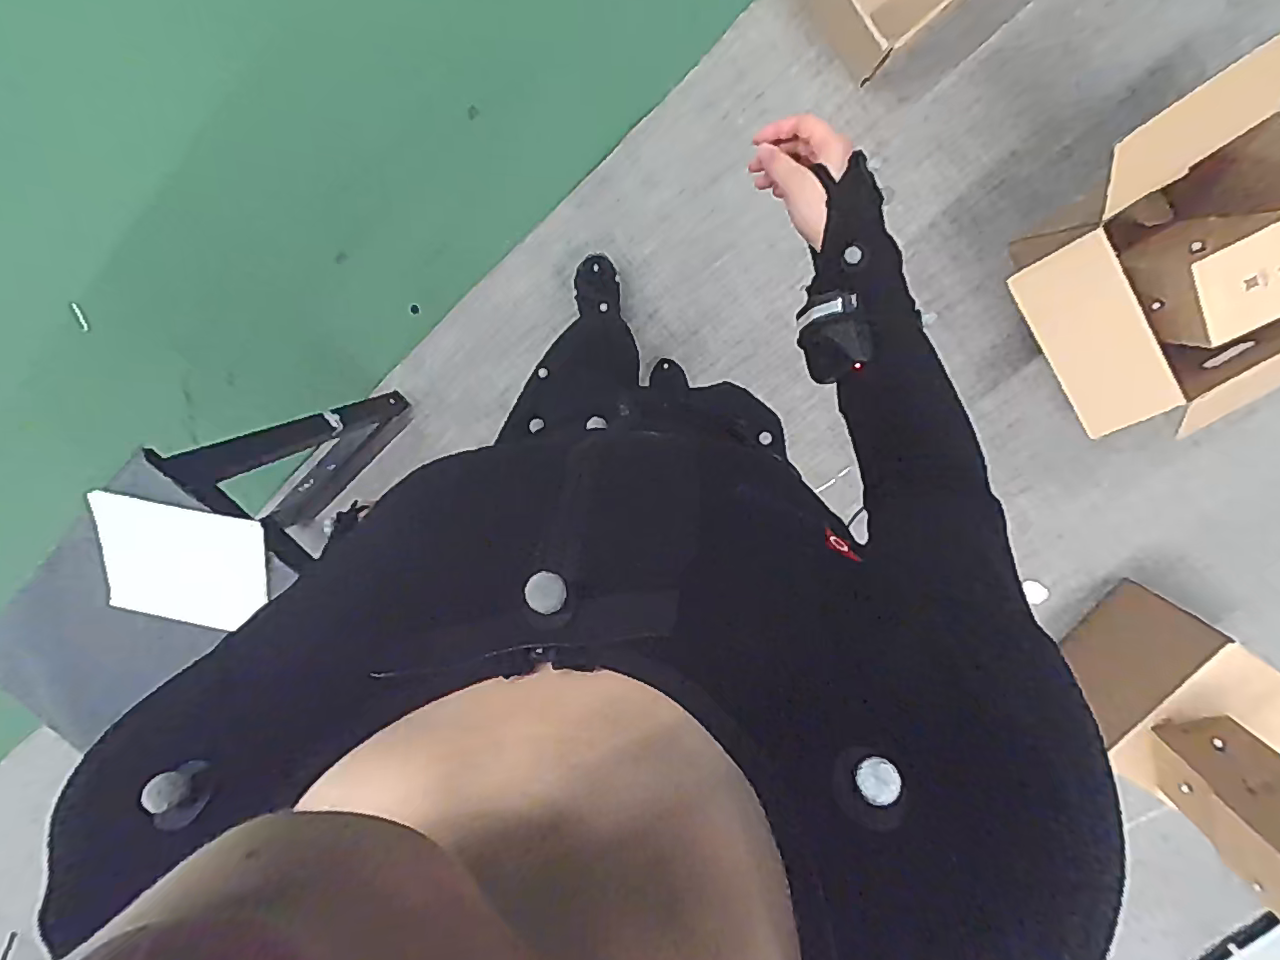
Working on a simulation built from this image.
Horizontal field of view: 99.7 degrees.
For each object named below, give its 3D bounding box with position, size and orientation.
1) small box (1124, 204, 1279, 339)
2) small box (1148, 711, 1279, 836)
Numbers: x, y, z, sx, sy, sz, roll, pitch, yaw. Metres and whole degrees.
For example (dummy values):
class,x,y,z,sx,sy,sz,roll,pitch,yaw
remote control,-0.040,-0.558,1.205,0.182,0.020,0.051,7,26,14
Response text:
class,x,y,z,sx,sy,sz,roll,pitch,yaw
small box,1.071,-0.388,1.021,0.179,0.176,0.168,-29,107,13
small box,1.287,0.641,1.202,0.168,0.176,0.179,-17,103,10
